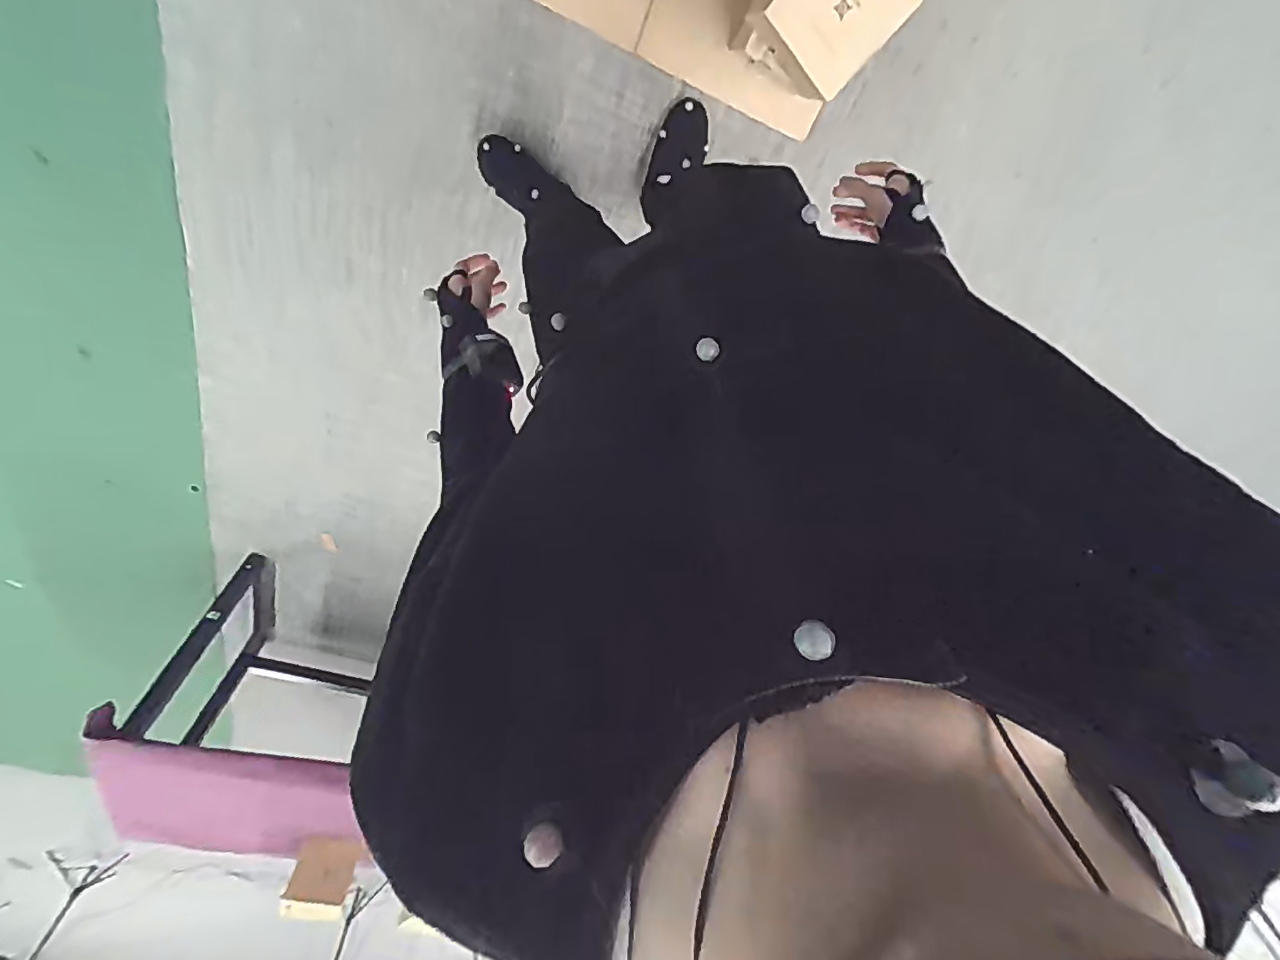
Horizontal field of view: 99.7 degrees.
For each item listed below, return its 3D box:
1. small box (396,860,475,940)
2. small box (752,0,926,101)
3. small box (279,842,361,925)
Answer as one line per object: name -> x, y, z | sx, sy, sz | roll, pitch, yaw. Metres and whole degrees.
small box -> -0.678, 1.408, 1.816 | 0.179, 0.176, 0.168 | 30, 120, -21
small box -> 0.301, -0.745, 0.852 | 0.168, 0.176, 0.179 | 36, 119, -26
small box -> -1.003, 1.270, 1.704 | 0.179, 0.176, 0.168 | 18, 123, -16
